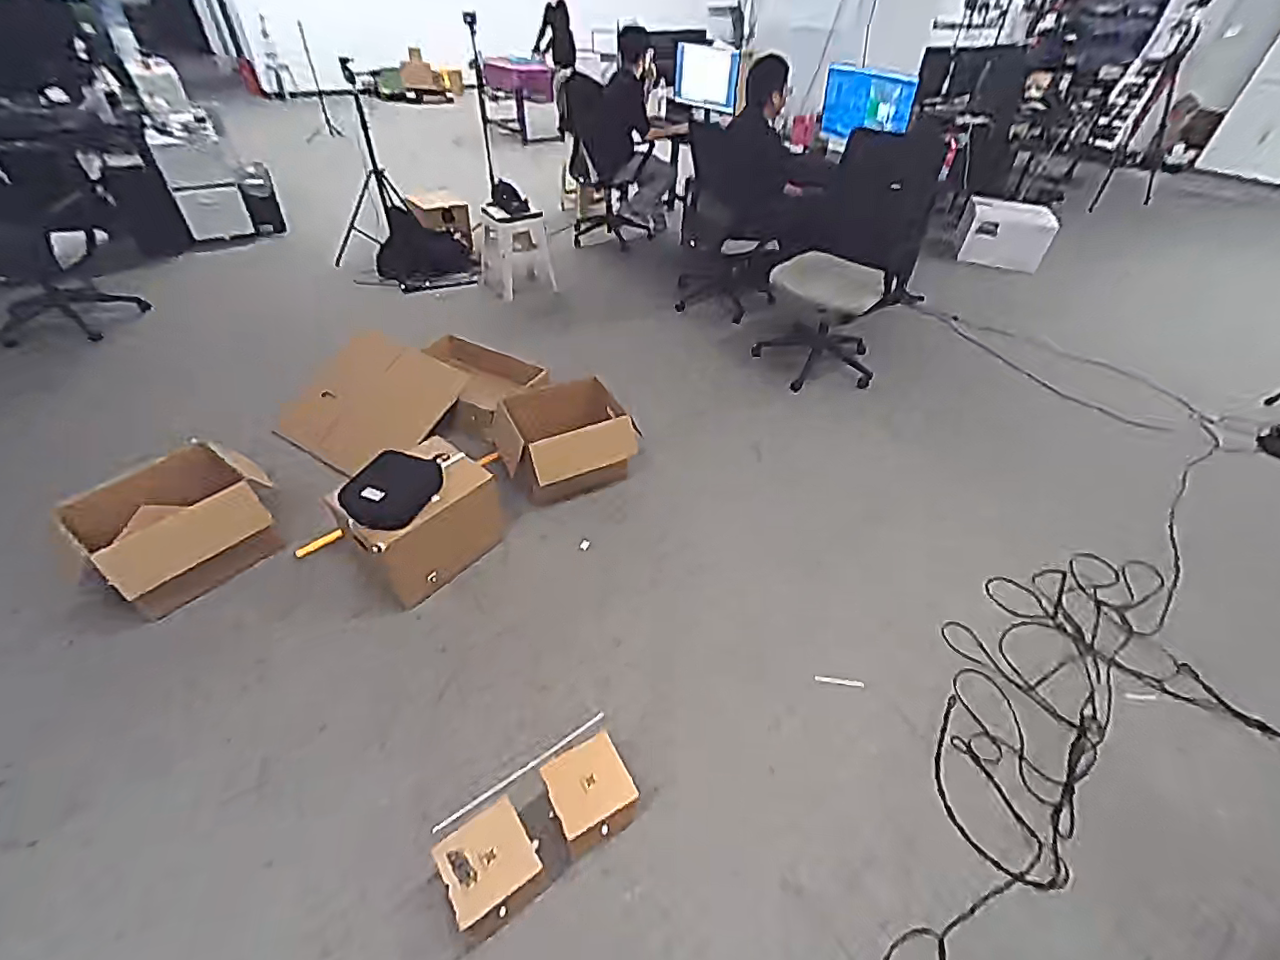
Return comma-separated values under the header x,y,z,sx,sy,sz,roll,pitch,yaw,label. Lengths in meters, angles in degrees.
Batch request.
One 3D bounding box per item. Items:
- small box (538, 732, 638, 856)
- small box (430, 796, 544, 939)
x,y,z,sx,sy,sz,roll,pitch,yaw,label
-0.122,0.734,1.266,0.179,0.176,0.168,-21,48,-22,small box
-0.320,0.827,1.153,0.179,0.176,0.168,-24,49,-27,small box
